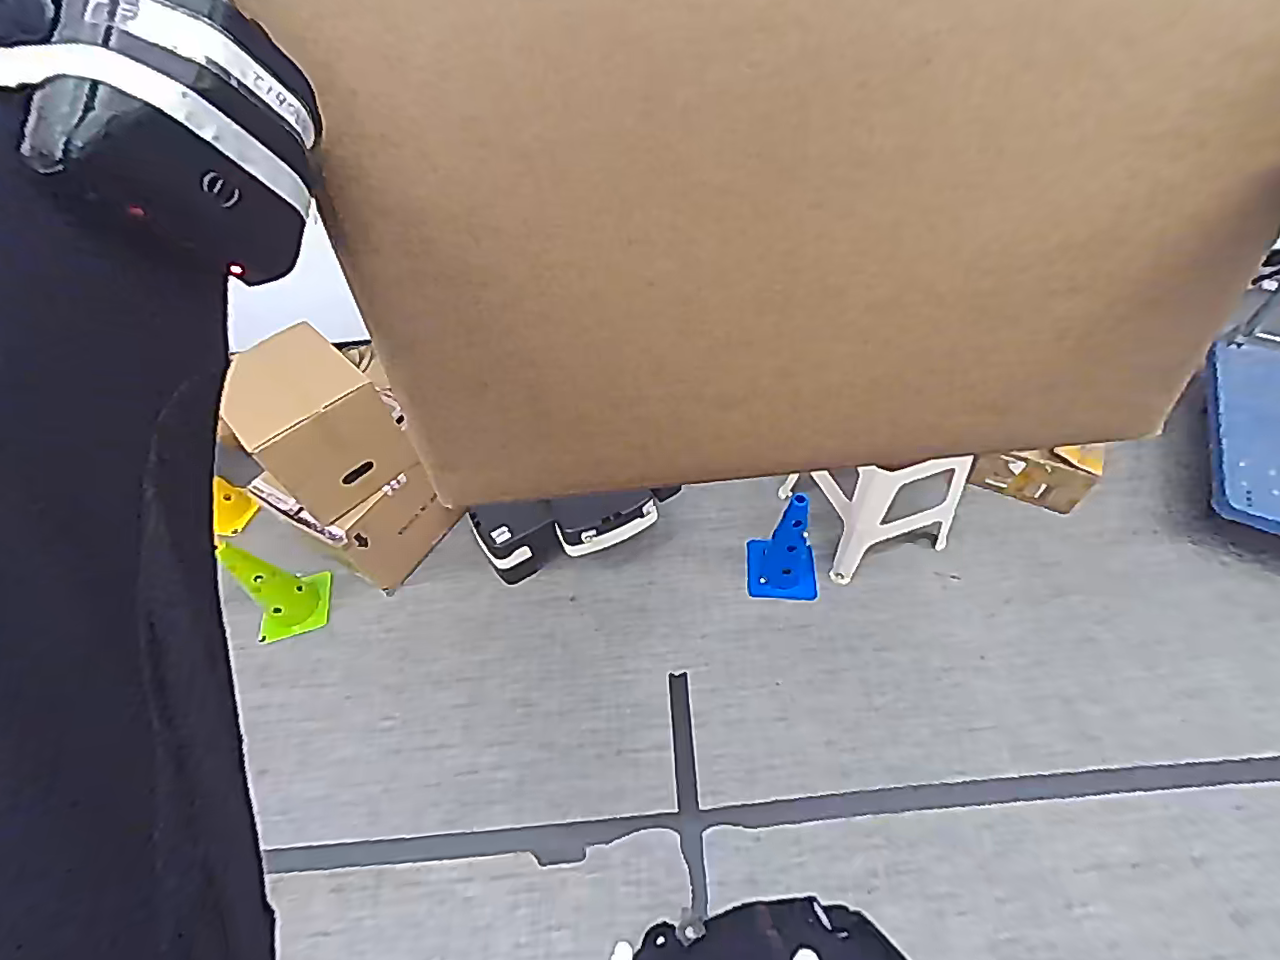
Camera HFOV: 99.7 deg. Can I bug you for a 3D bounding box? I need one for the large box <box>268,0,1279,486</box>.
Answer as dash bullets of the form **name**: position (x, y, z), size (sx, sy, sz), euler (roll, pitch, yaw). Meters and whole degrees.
- **large box**: position (0.064, -0.221, 0.332), size (0.408, 0.320, 0.320), euler (-5, 39, -1)
